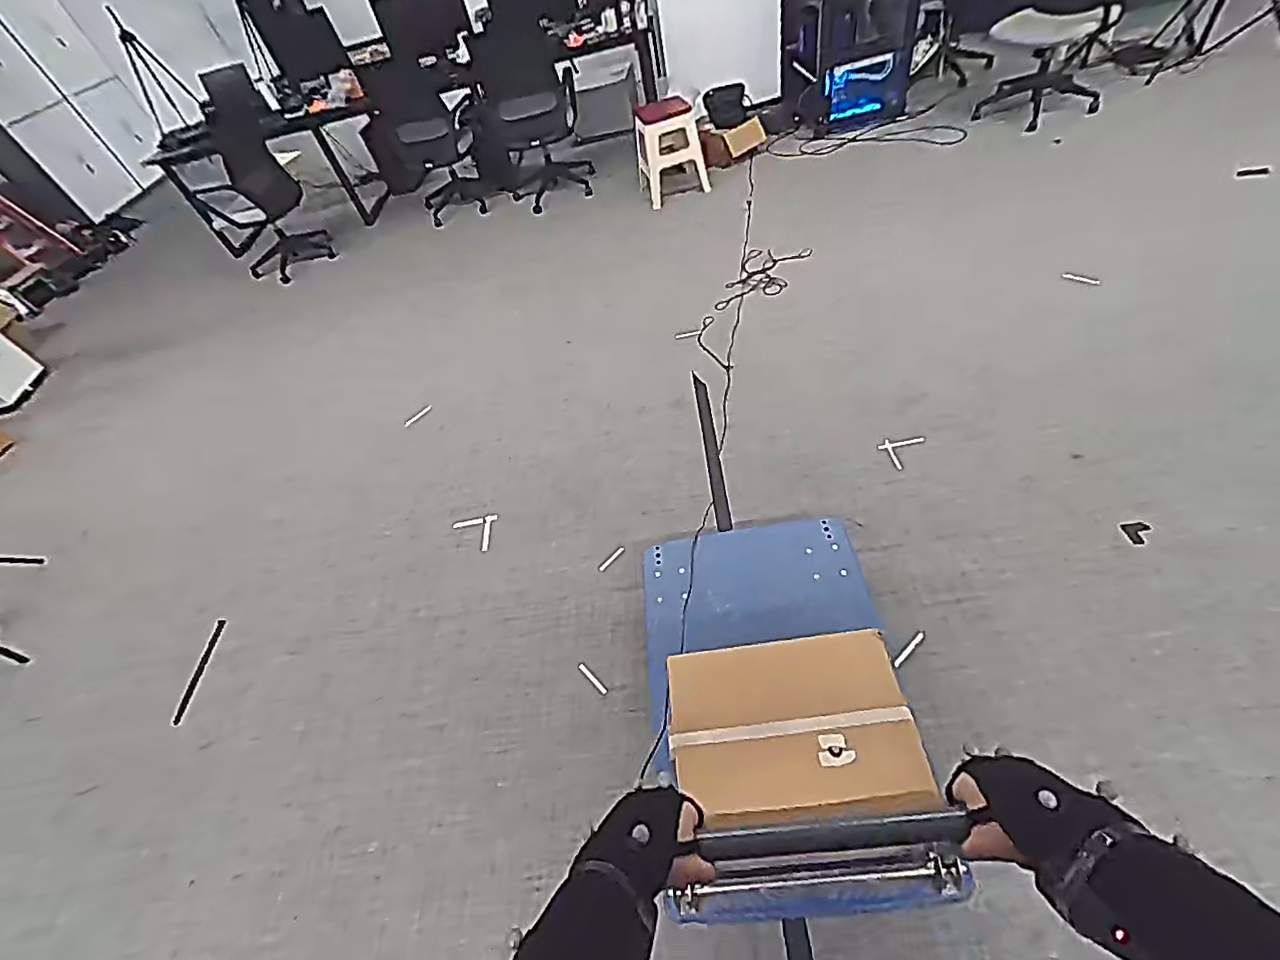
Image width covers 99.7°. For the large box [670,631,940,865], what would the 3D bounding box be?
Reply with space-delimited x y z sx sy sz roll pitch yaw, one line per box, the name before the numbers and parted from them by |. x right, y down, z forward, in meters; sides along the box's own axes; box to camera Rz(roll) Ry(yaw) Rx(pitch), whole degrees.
large box | 0.290 0.533 1.061 0.408 0.320 0.320 -10 49 6
